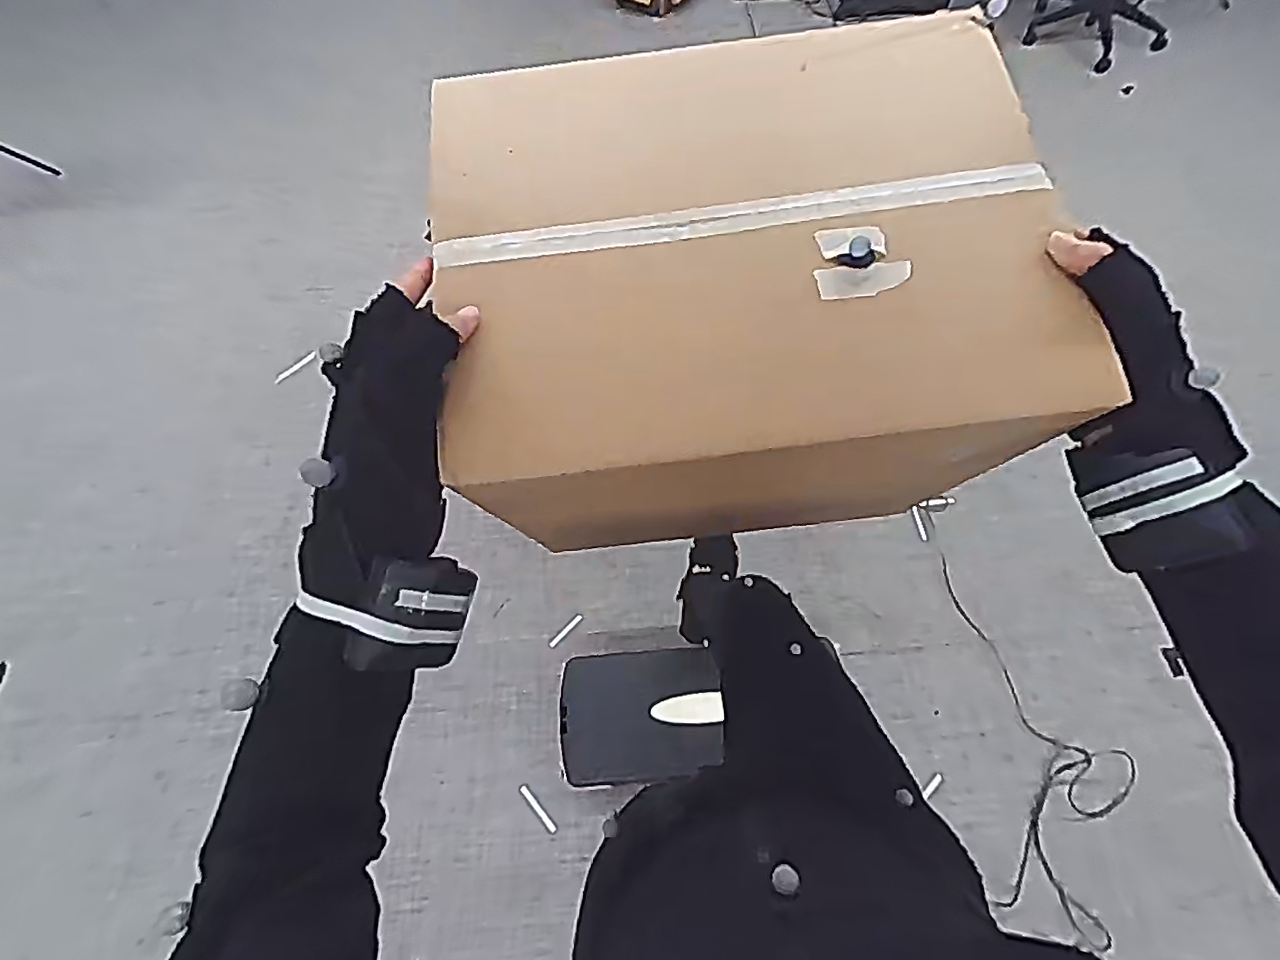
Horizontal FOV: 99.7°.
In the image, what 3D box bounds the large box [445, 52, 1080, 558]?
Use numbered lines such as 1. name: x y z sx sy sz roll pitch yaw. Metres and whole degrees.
1. large box: 0.067 -0.122 0.523 0.408 0.320 0.320 -7 74 0
